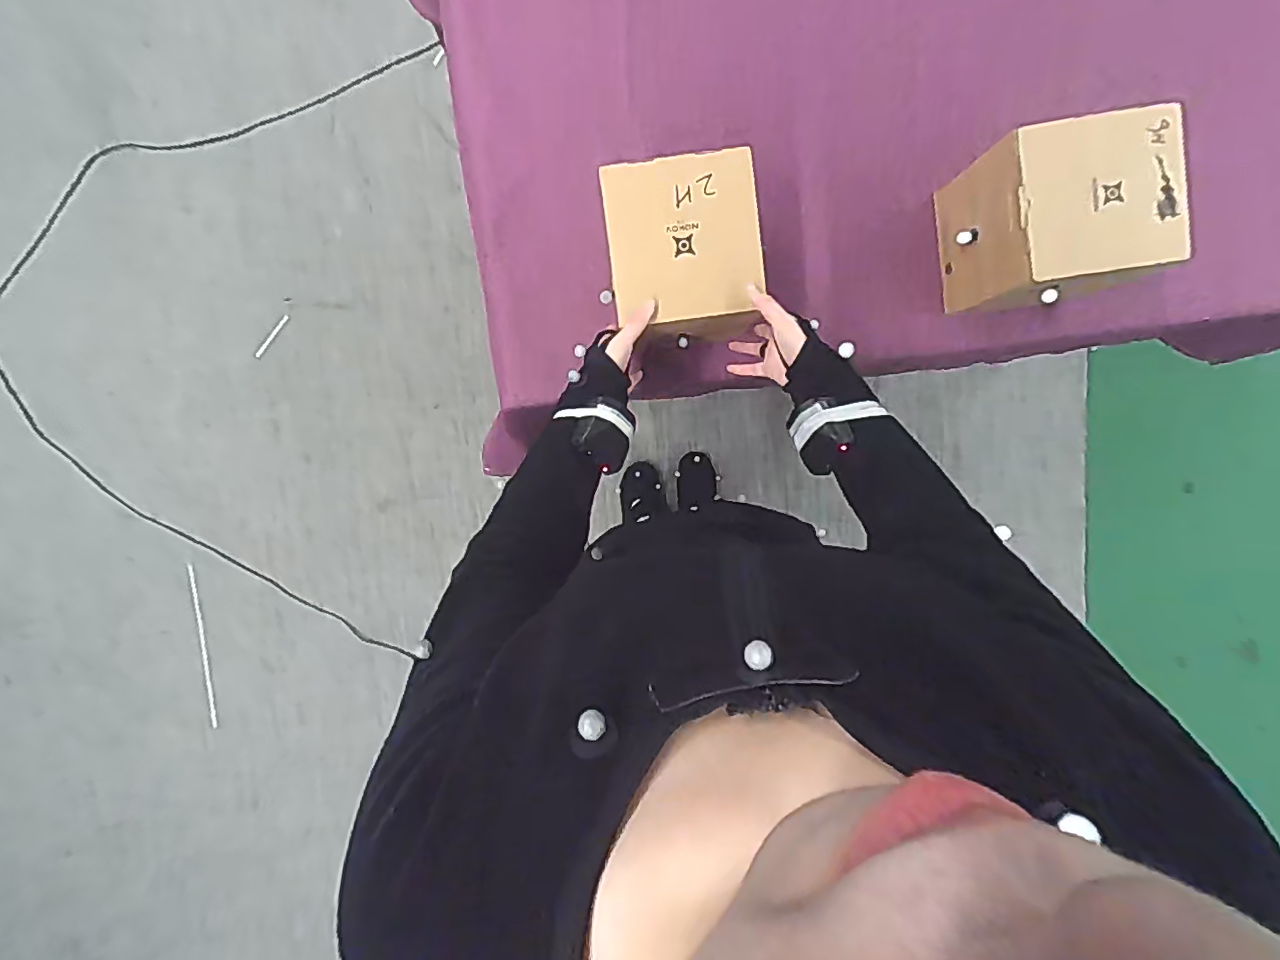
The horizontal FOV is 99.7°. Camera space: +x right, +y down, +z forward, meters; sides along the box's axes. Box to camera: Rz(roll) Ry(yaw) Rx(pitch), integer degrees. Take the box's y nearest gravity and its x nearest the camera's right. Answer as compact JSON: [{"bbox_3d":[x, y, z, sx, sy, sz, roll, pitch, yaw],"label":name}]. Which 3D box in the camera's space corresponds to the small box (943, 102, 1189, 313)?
[{"bbox_3d":[0.492,-0.311,0.654,0.179,0.176,0.168,-8,94,2],"label":"small box"}]

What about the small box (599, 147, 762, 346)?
[{"bbox_3d":[0.047,-0.267,0.664,0.168,0.176,0.179,-7,94,1],"label":"small box"}]
